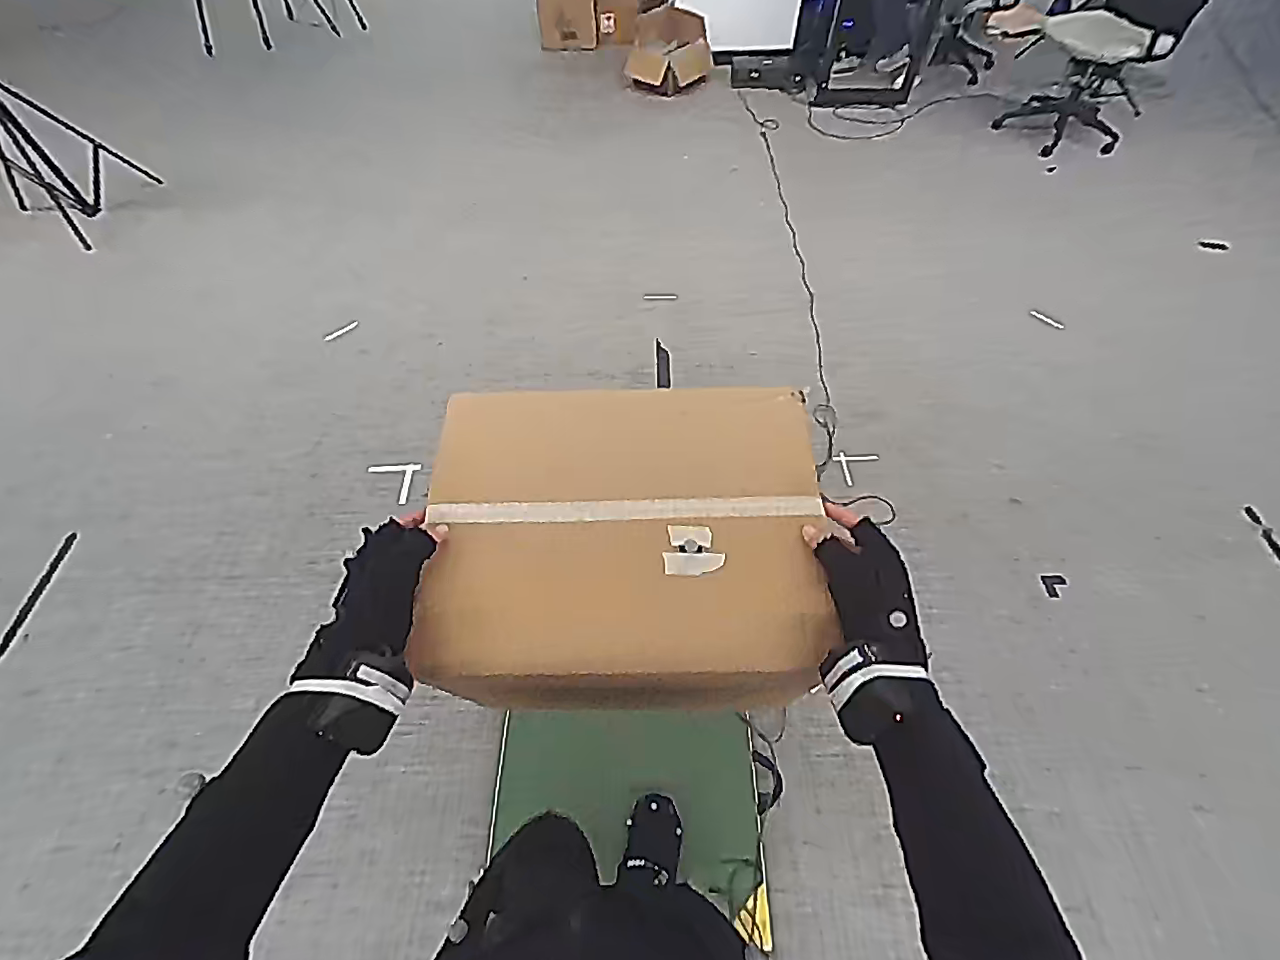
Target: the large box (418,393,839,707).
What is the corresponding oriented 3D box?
[{"bbox_3d":[-0.015,0.106,0.703,0.408,0.320,0.320,-1,62,0],"label":"large box"}]
